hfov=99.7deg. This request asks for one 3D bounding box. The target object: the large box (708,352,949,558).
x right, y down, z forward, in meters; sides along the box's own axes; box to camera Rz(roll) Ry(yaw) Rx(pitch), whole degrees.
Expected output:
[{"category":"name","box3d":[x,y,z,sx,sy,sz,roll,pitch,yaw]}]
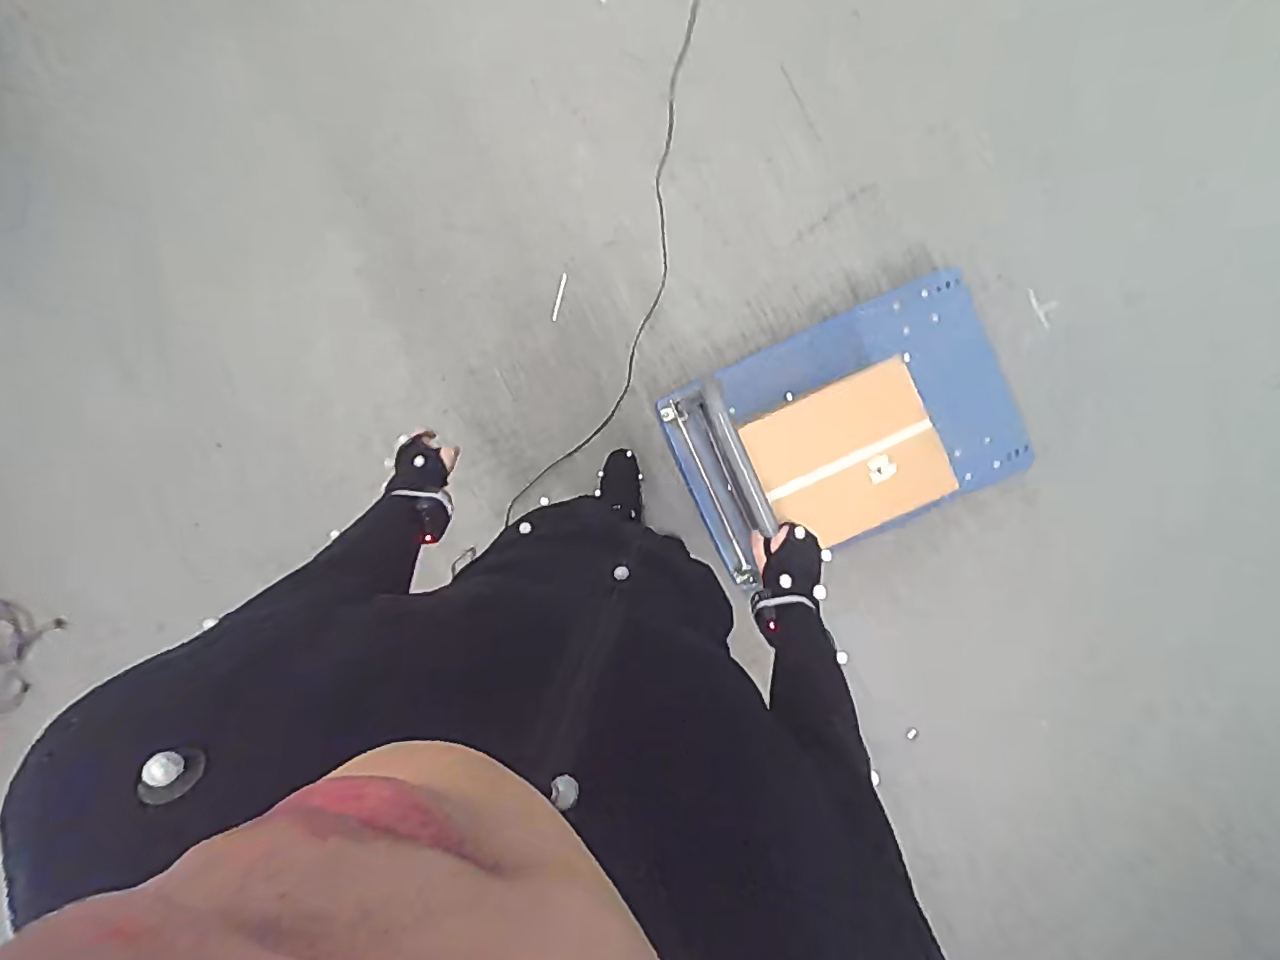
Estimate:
[{"category":"large box","box3d":[0.420,-0.057,1.302,0.408,0.320,0.320,-25,93,2]}]
